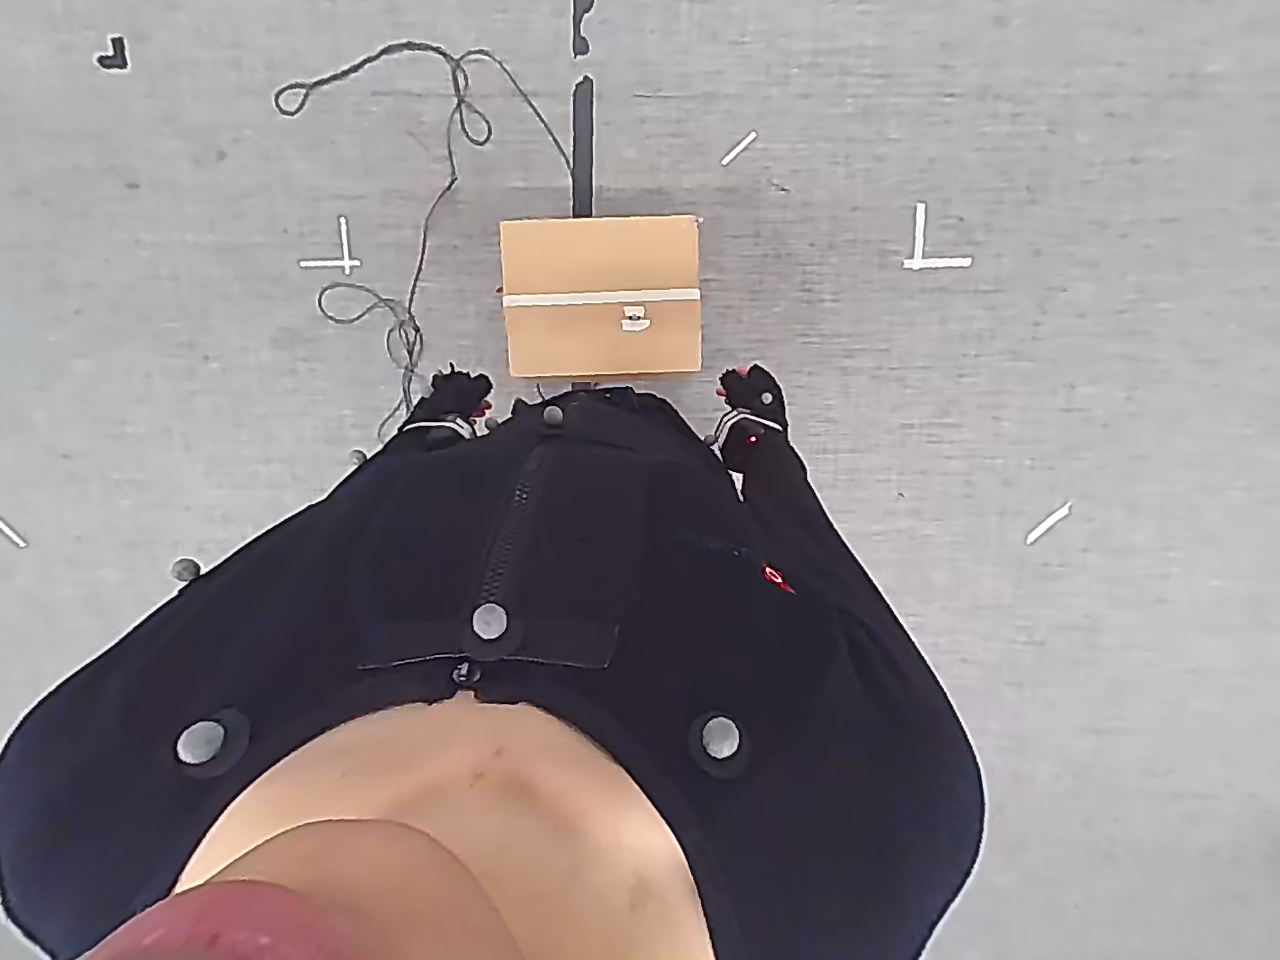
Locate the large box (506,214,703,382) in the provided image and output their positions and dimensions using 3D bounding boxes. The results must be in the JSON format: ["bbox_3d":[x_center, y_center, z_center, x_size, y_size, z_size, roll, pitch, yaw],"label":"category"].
[{"bbox_3d":[-0.075,-0.403,1.273,0.408,0.320,0.320,-2,98,-1],"label":"large box"}]
